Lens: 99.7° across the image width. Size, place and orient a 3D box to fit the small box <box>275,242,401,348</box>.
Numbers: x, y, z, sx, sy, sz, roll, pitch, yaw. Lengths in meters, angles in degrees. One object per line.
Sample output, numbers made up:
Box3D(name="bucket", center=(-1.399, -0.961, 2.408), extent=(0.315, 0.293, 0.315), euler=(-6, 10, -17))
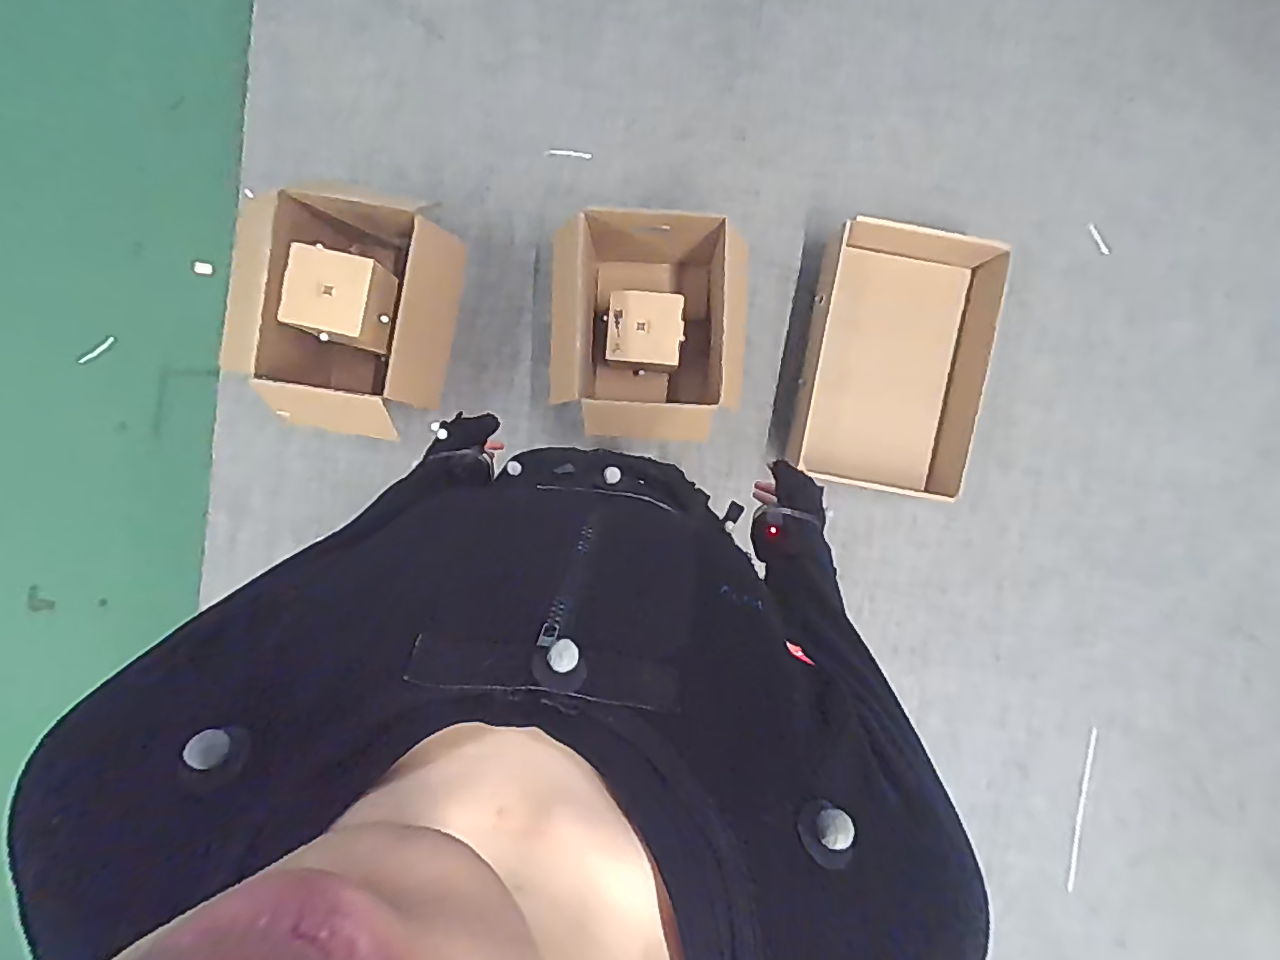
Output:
Box3D(name="small box", center=(-0.655, -0.397, 1.194), extent=(0.179, 0.176, 0.168), euler=(11, 92, -1))
